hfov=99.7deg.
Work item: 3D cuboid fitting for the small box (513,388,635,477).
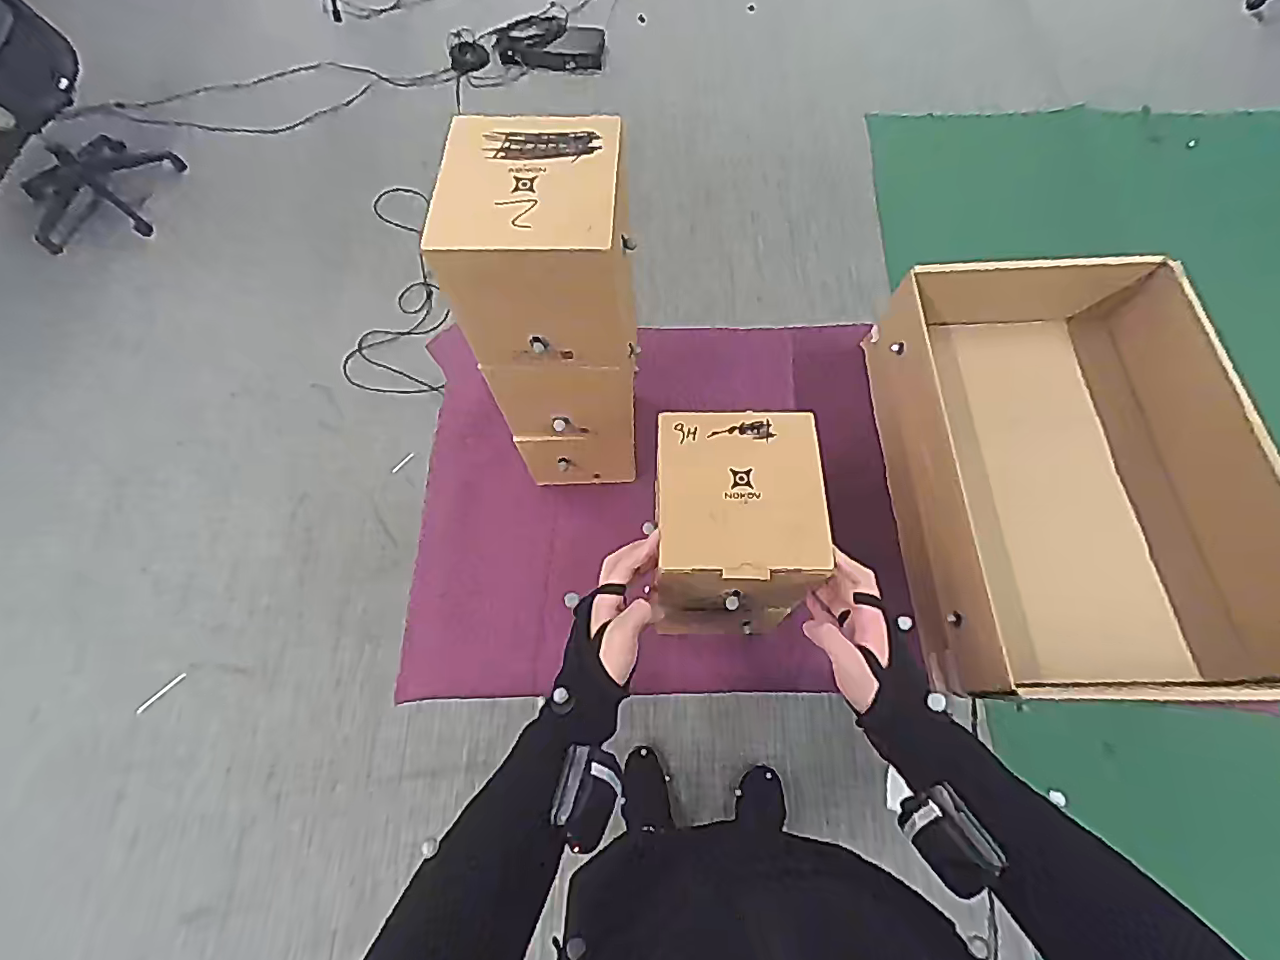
[{"bbox_3d":[-0.096,-0.110,0.862,0.168,0.176,0.179,-2,66,1],"label":"small box"}]

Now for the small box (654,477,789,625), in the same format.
[{"bbox_3d":[0.104,0.104,0.759,0.168,0.176,0.179,0,65,2],"label":"small box"}]

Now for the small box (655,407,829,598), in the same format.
[{"bbox_3d":[0.101,0.034,0.612,0.168,0.176,0.179,0,67,2],"label":"small box"}]

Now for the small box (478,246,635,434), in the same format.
[{"bbox_3d":[-0.095,-0.179,0.712,0.168,0.176,0.179,2,67,3],"label":"small box"}]
